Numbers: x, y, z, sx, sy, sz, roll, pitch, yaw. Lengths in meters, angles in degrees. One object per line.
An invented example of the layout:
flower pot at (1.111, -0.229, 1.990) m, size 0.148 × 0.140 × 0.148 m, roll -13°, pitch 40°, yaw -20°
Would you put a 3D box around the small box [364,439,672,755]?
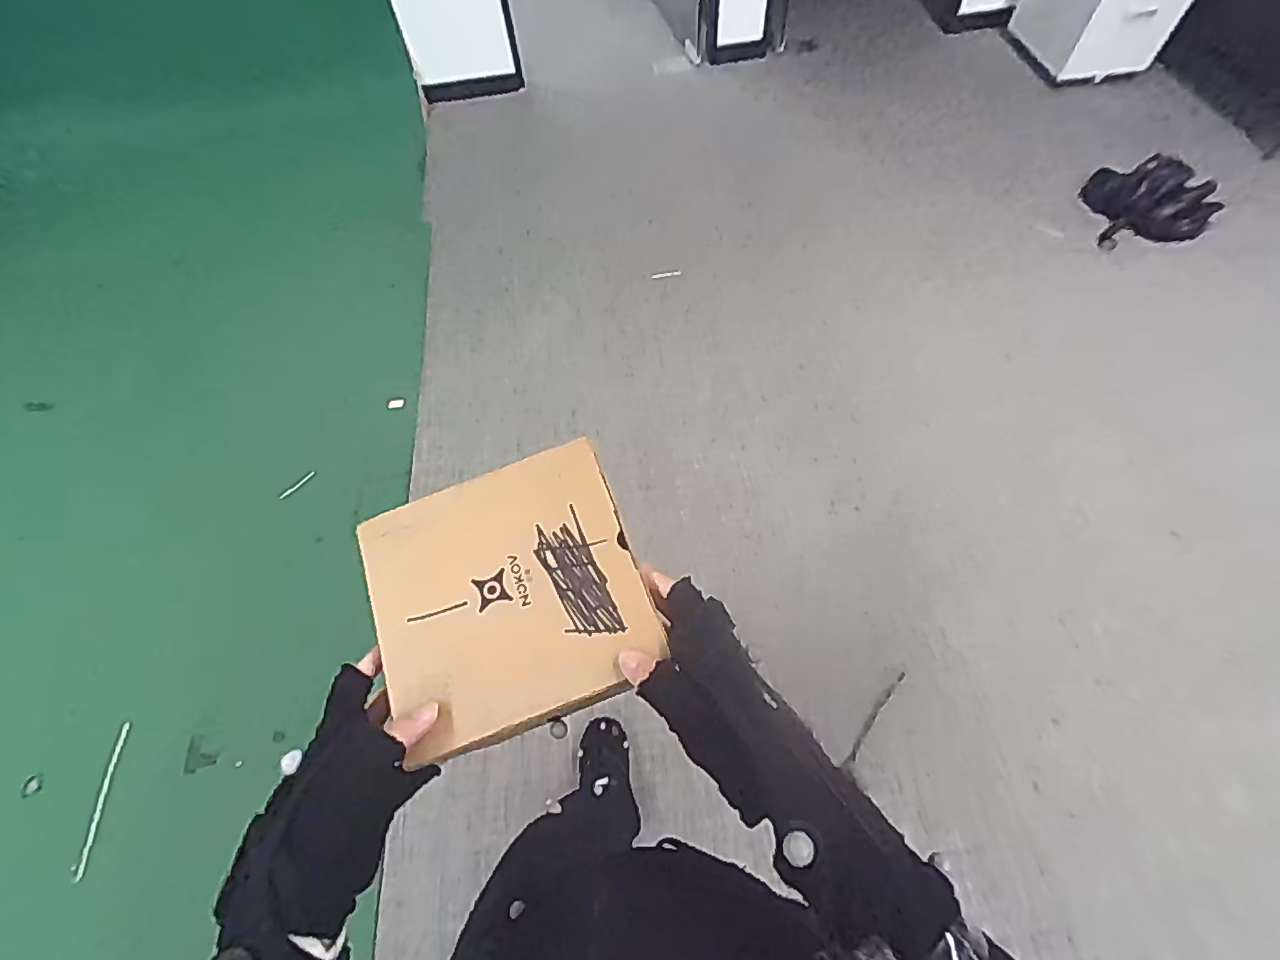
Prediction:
small box at (-0.082, 0.096, 0.433) m, size 0.179 × 0.176 × 0.168 m, roll -20°, pitch 68°, yaw -3°
